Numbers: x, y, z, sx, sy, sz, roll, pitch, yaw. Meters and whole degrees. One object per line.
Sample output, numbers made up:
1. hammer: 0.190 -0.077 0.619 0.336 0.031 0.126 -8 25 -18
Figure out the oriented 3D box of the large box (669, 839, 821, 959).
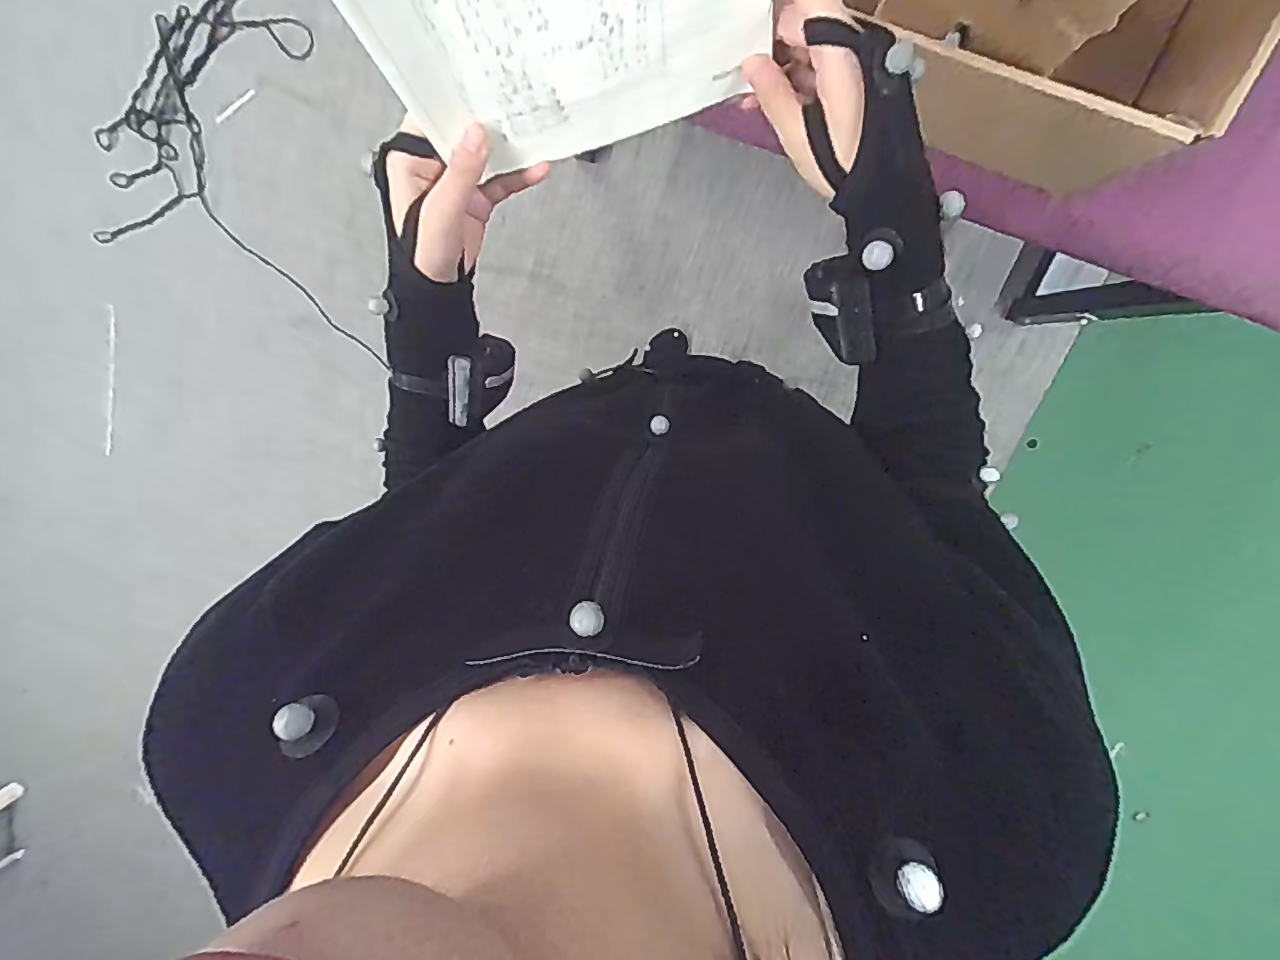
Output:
1. large box: 0.297 1.377 1.658 0.408 0.320 0.320 6 105 5
